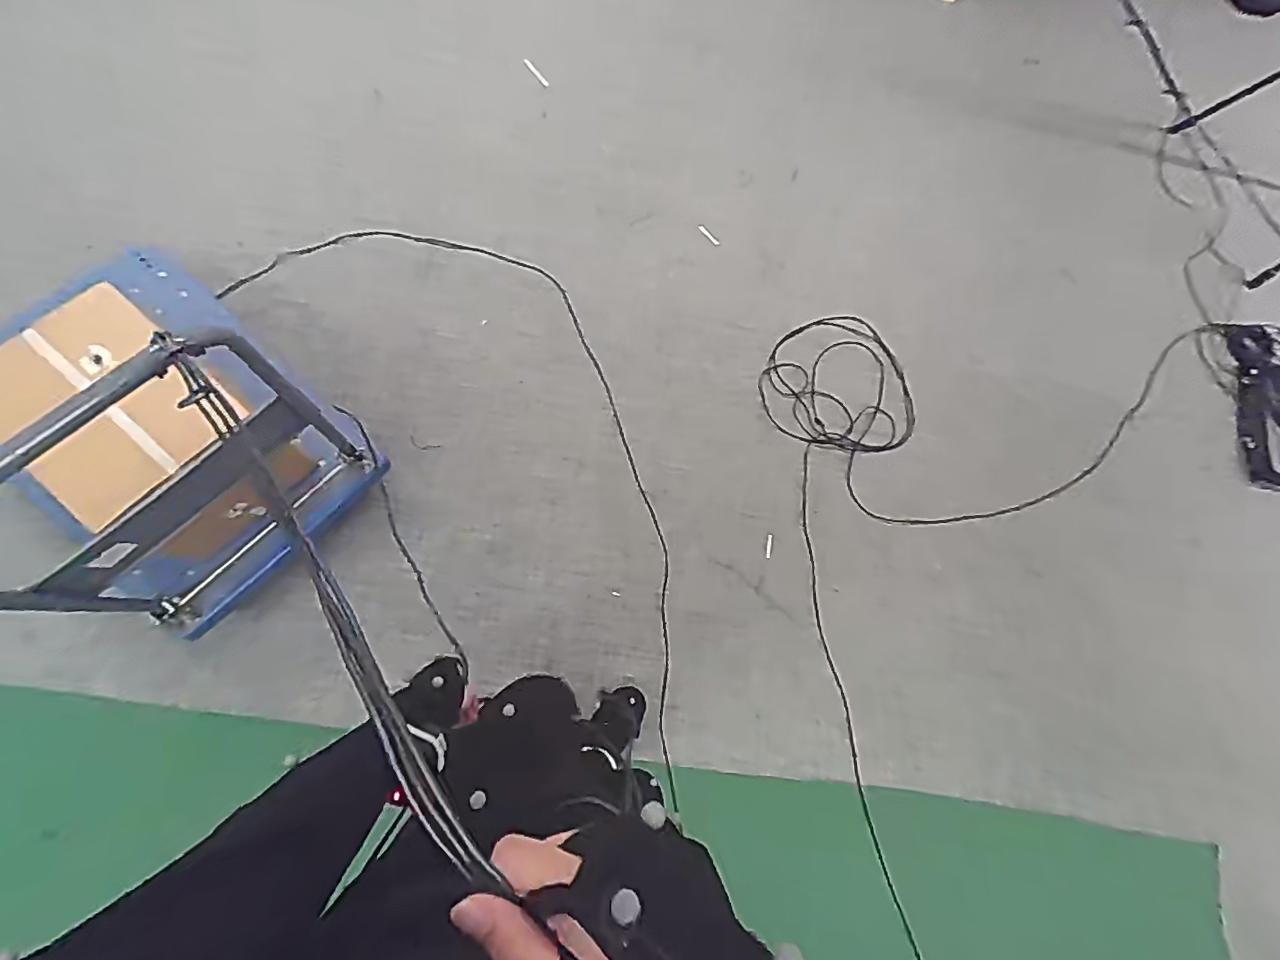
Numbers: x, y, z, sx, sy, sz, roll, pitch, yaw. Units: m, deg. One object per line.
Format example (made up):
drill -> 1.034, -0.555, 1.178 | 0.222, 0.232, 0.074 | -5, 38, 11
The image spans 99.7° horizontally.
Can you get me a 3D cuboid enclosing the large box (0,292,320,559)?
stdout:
large box -> -0.987, -0.093, 1.128 | 0.408, 0.320, 0.320 | 41, 72, 6
